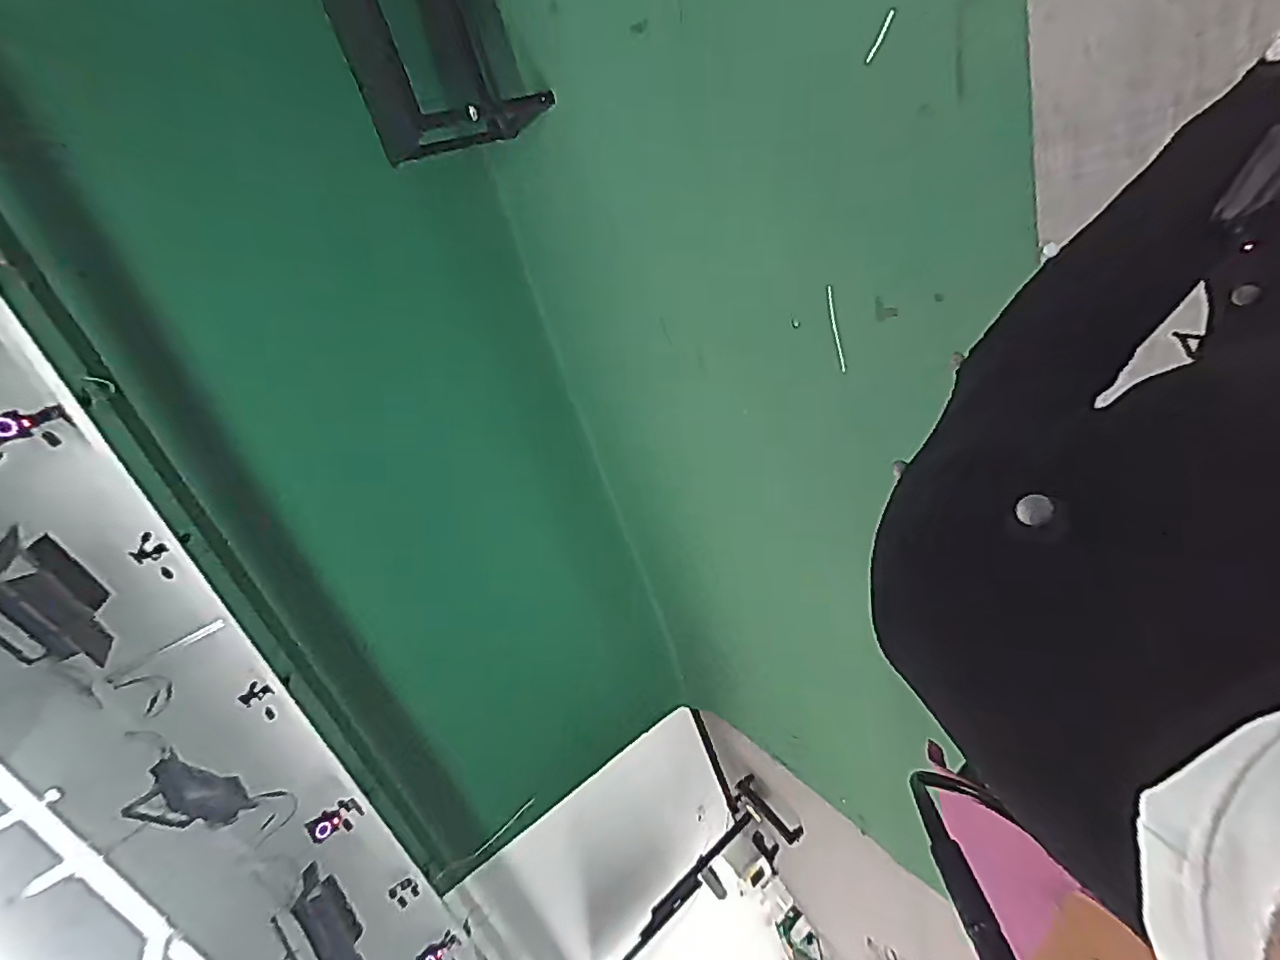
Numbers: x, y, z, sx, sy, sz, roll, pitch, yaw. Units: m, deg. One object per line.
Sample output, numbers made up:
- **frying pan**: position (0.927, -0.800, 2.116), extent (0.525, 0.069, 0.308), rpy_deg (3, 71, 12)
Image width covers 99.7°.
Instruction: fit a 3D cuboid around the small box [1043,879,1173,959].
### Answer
- **small box**: position (1.014, 1.040, 1.186), extent (0.179, 0.176, 0.168), rpy_deg (27, 140, 50)
